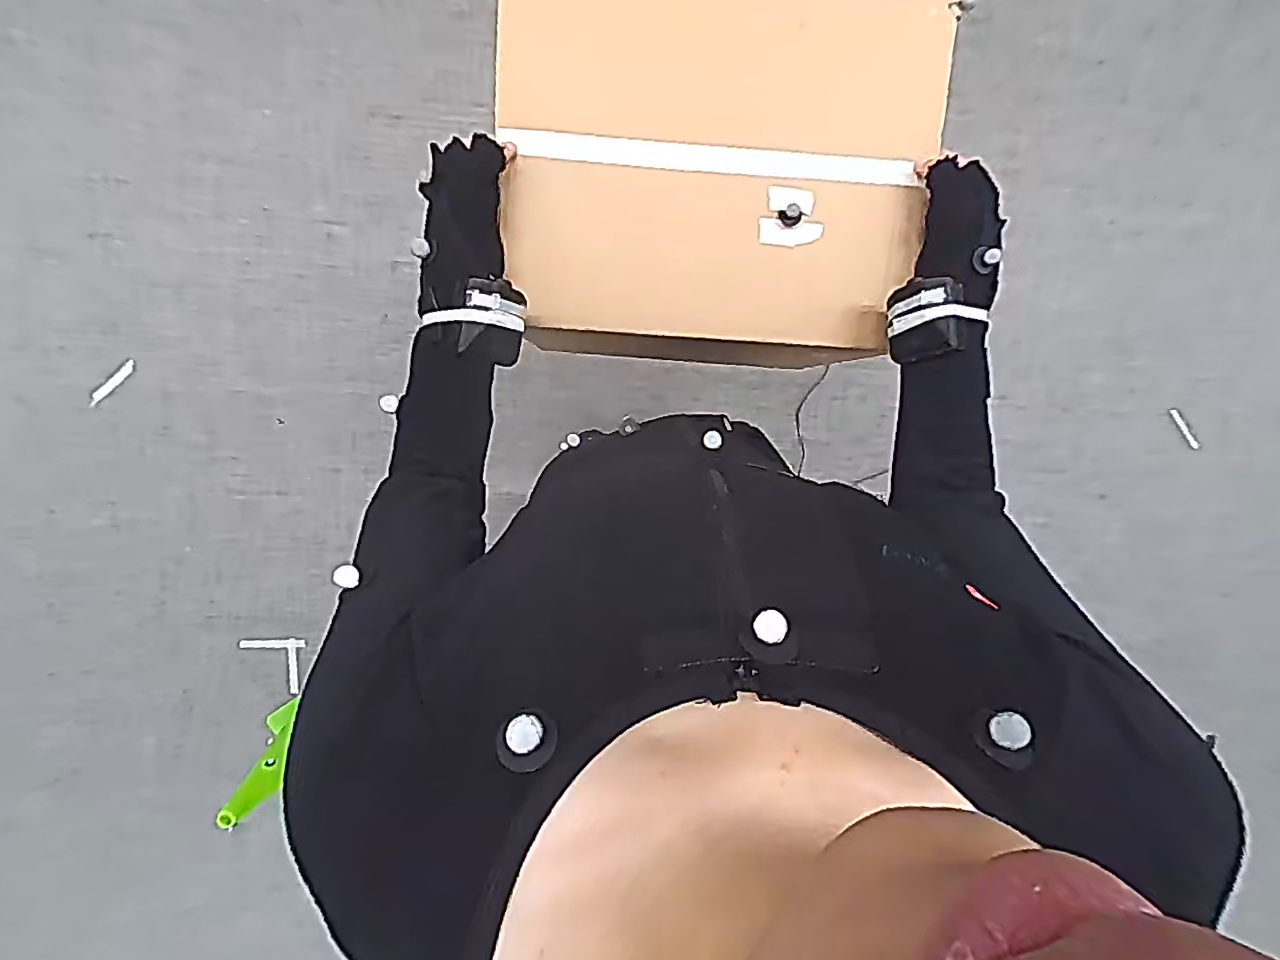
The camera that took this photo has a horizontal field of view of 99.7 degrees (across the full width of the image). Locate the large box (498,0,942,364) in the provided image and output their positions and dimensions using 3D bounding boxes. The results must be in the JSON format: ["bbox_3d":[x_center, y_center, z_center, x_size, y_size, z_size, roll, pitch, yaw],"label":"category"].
[{"bbox_3d":[0.061,-0.314,0.643,0.408,0.320,0.320,3,99,-4],"label":"large box"}]

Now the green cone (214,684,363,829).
[{"bbox_3d":[-0.899,0.708,1.341,0.202,0.368,0.200,-34,96,3],"label":"green cone"}]
